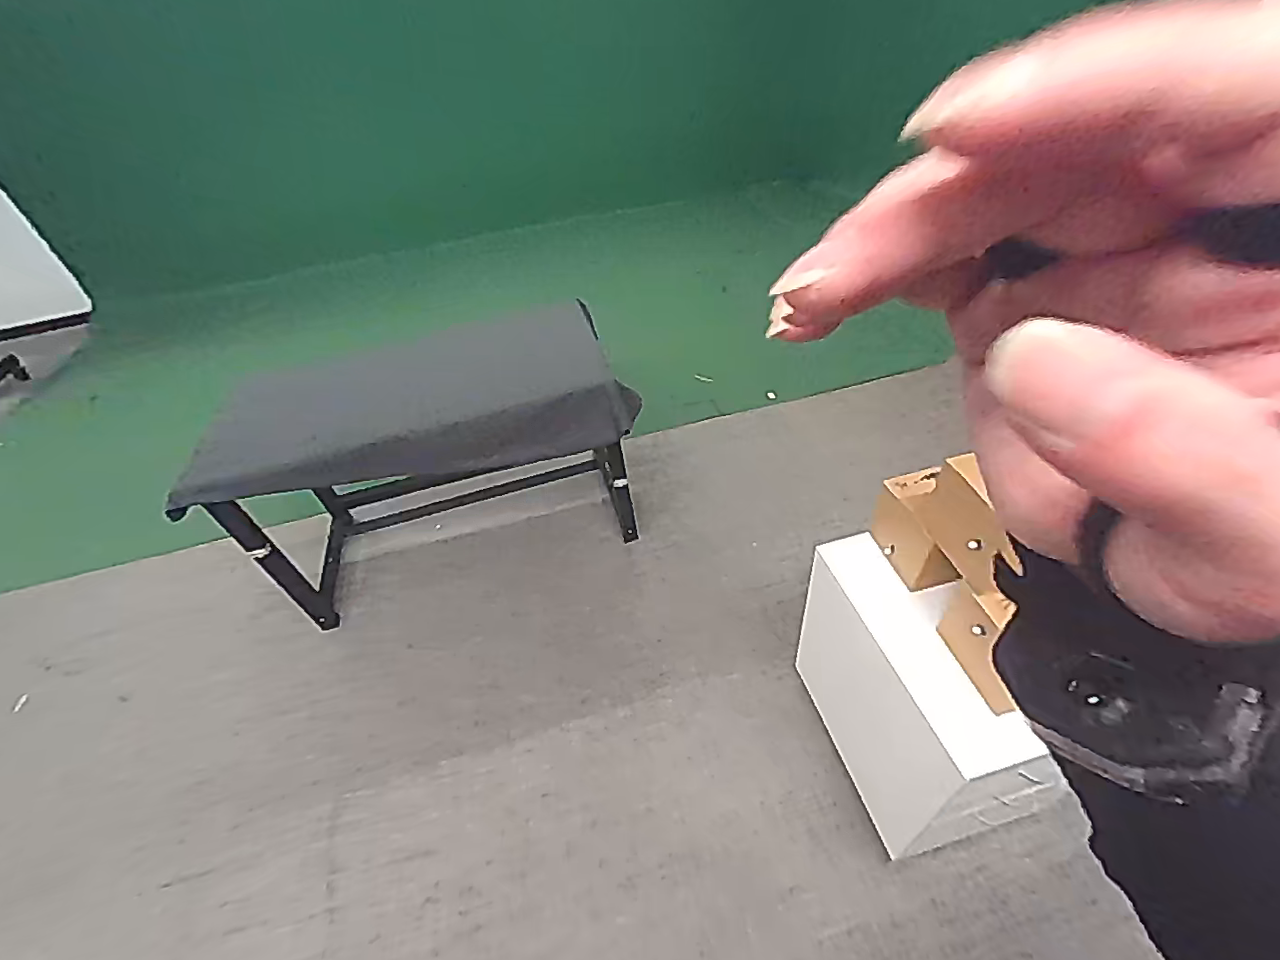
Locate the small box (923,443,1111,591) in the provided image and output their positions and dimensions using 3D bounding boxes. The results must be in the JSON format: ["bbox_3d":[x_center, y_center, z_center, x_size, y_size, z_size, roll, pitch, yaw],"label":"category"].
[{"bbox_3d":[0.618,0.068,0.914,0.168,0.176,0.179,-12,42,-5],"label":"small box"}]

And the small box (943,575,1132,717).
[{"bbox_3d":[0.658,0.273,0.926,0.168,0.176,0.179,-13,44,-4],"label":"small box"}]

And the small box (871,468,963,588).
[{"bbox_3d":[0.607,0.103,1.116,0.168,0.176,0.179,-14,45,-6],"label":"small box"}]
